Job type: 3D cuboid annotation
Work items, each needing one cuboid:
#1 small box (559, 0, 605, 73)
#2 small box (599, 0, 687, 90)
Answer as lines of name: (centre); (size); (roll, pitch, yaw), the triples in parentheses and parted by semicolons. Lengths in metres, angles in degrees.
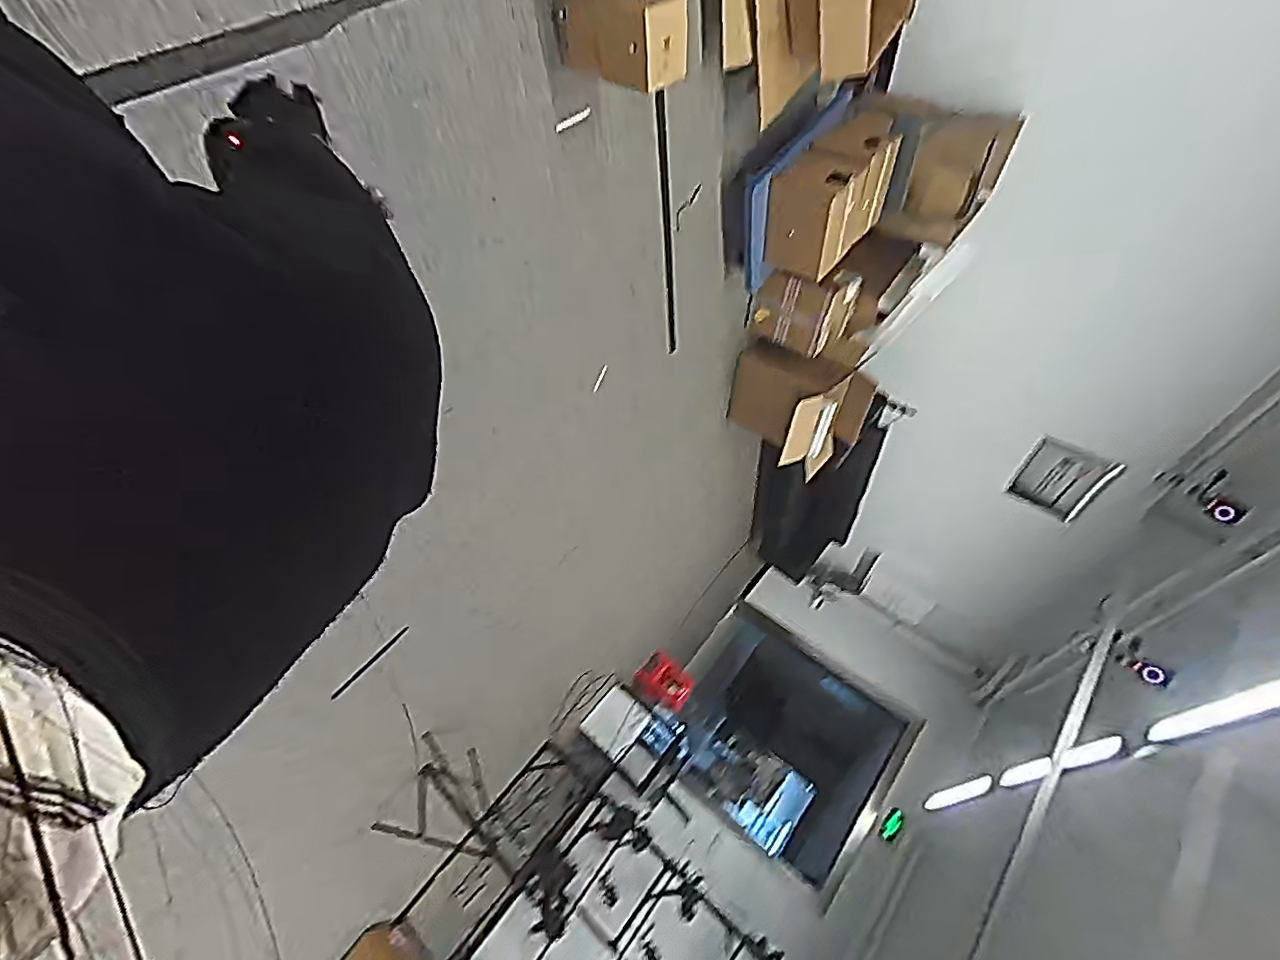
small box: (-0.107, -1.263, 1.503); (0.179, 0.176, 0.168); (-46, 152, -23)
small box: (0.008, -1.169, 1.429); (0.168, 0.176, 0.179); (-44, 152, -25)
